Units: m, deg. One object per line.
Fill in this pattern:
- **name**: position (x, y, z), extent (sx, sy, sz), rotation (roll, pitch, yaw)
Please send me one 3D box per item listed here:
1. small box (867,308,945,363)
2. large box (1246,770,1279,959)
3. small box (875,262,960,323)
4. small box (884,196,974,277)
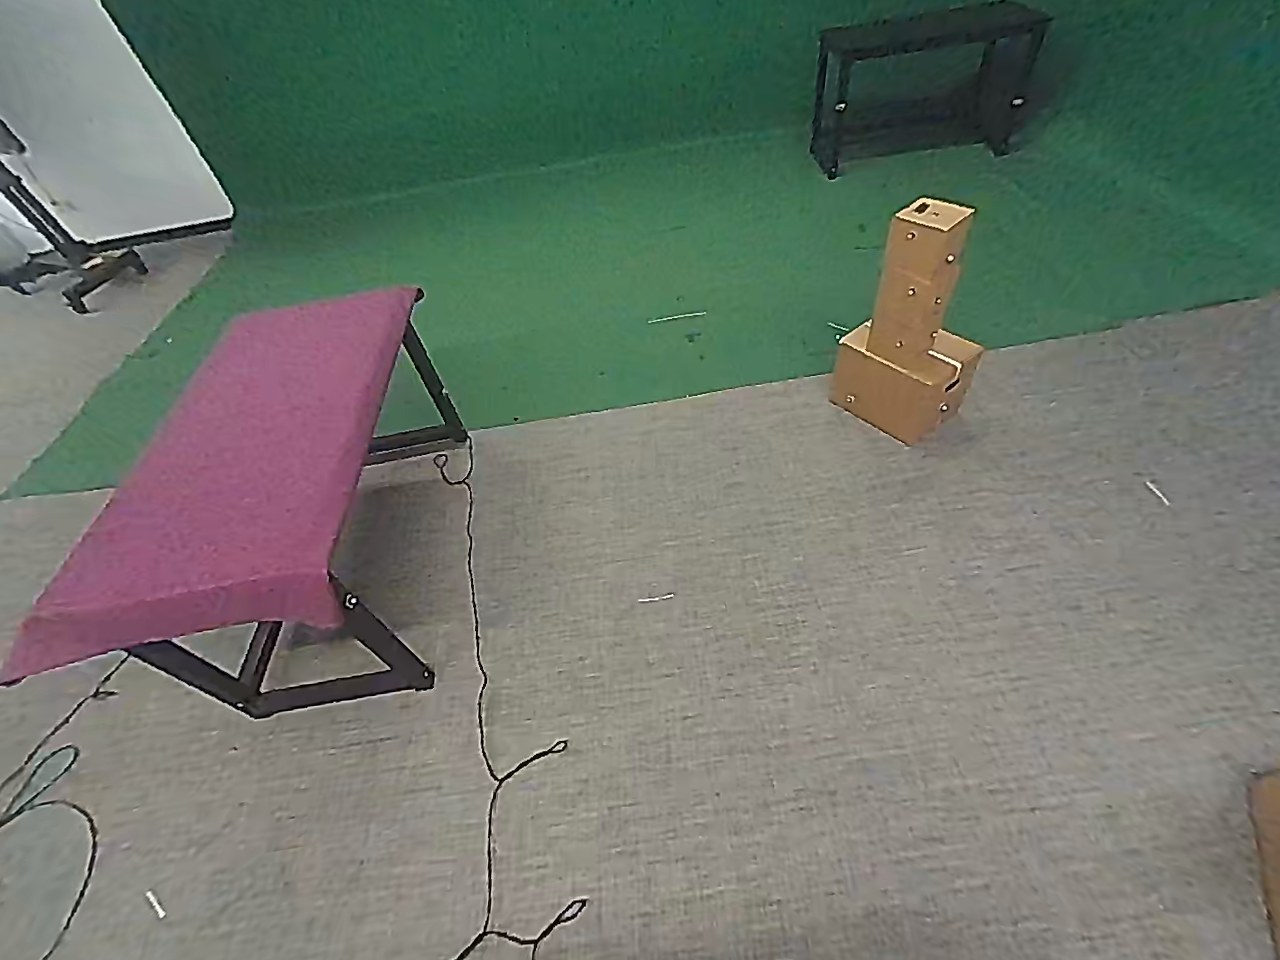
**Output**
- **small box**: position (0.957, -0.549, 1.960), extent (0.168, 0.176, 0.179), rotation (-33, 52, -19)
- **large box**: position (1.490, 0.808, 1.029), extent (0.320, 0.320, 0.408), rotation (17, 53, 21)
- **small box**: position (0.936, -0.656, 1.837), extent (0.168, 0.176, 0.179), rotation (-31, 52, -18)
- **small box**: position (0.914, -0.775, 1.726), extent (0.168, 0.176, 0.179), rotation (-36, 54, -21)
